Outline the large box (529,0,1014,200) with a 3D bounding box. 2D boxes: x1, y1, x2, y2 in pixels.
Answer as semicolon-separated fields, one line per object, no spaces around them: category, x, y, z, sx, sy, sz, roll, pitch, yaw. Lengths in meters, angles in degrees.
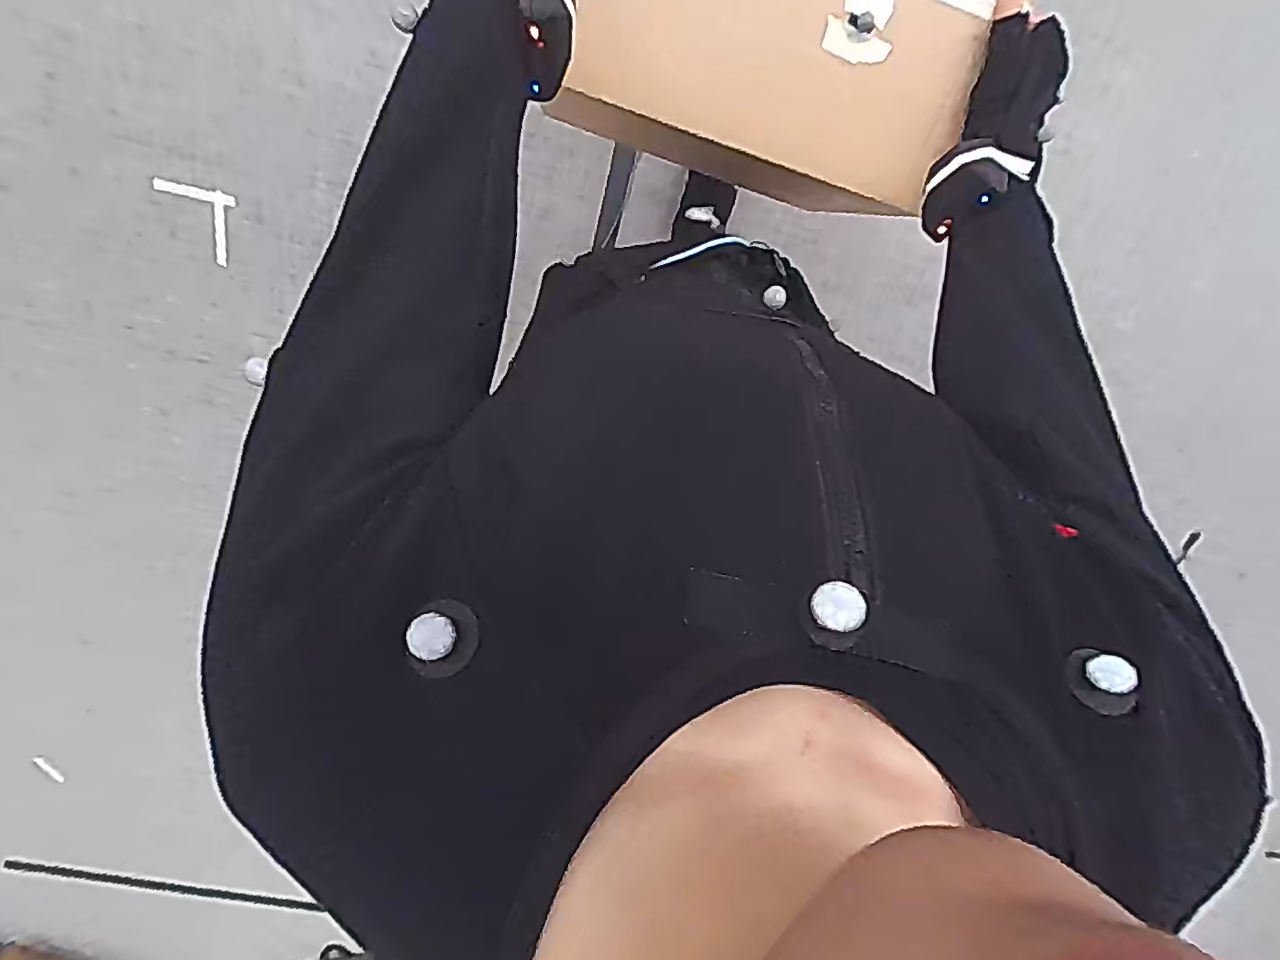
large box;0.116;-0.515;0.565;0.408;0.320;0.320;12;117;-12
